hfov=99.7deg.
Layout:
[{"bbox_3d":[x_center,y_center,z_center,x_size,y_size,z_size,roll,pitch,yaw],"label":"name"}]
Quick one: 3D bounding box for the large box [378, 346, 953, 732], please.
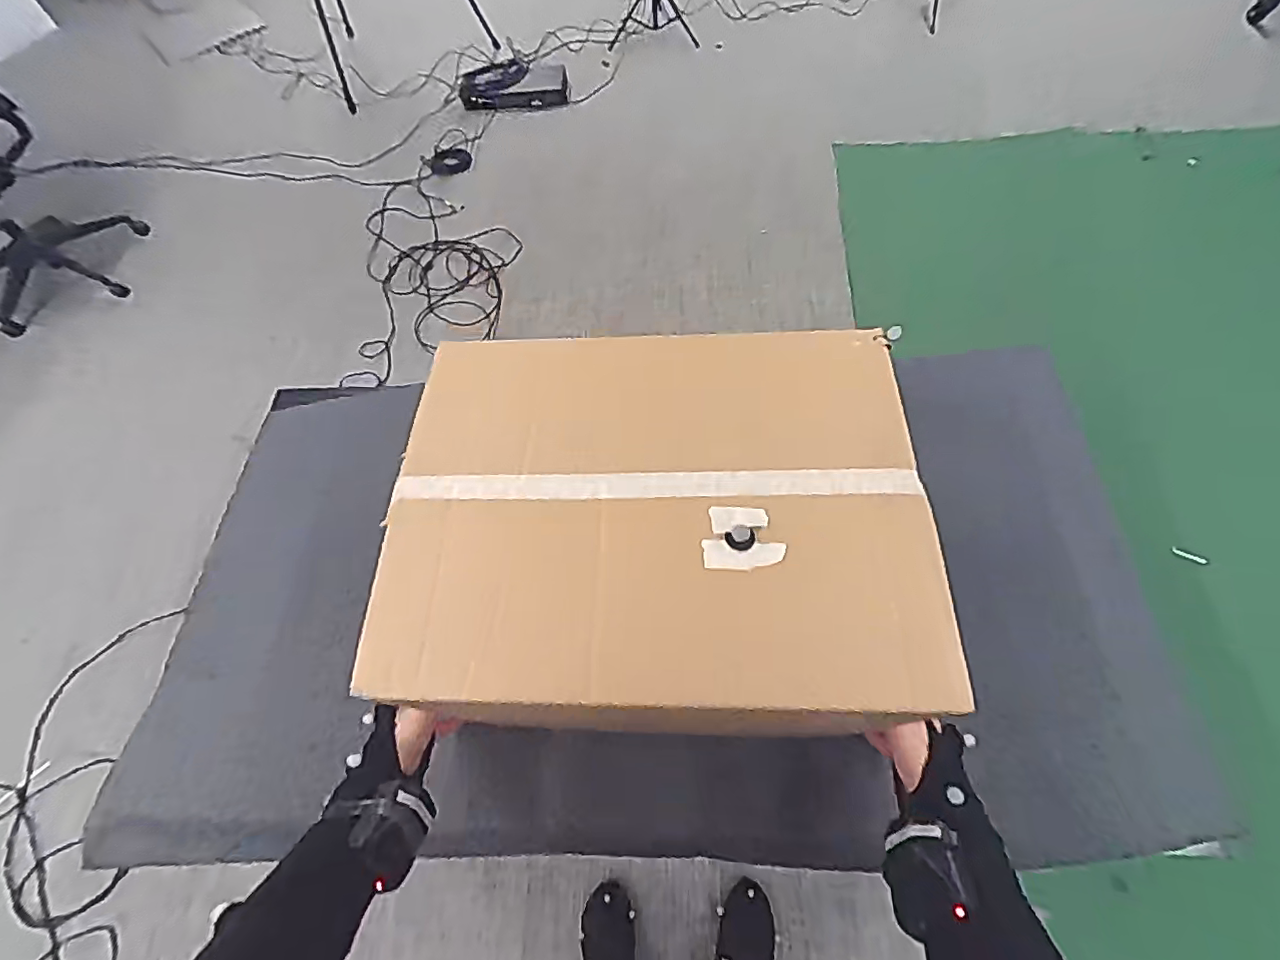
[{"bbox_3d":[0.021,0.085,0.568,0.408,0.320,0.320,-1,63,4],"label":"large box"}]
